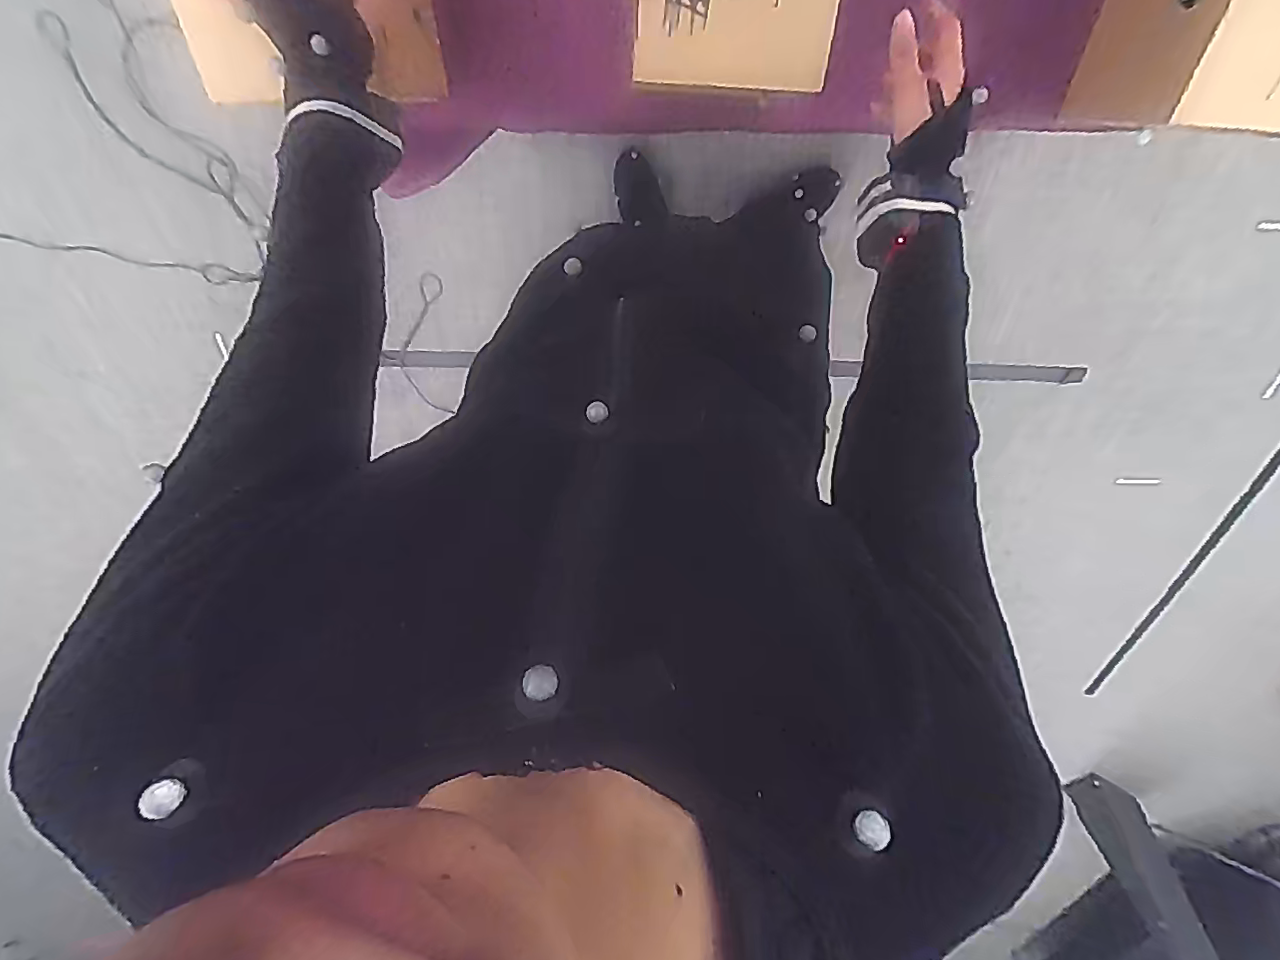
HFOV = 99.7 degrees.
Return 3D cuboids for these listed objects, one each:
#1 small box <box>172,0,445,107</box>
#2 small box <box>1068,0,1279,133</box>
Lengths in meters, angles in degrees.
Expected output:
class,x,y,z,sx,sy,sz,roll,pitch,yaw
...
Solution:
class,x,y,z,sx,sy,sz,roll,pitch,yaw
small box,-0.310,-0.460,0.515,0.179,0.176,0.168,-3,124,0
small box,0.578,-0.448,0.526,0.168,0.176,0.179,2,125,-2
